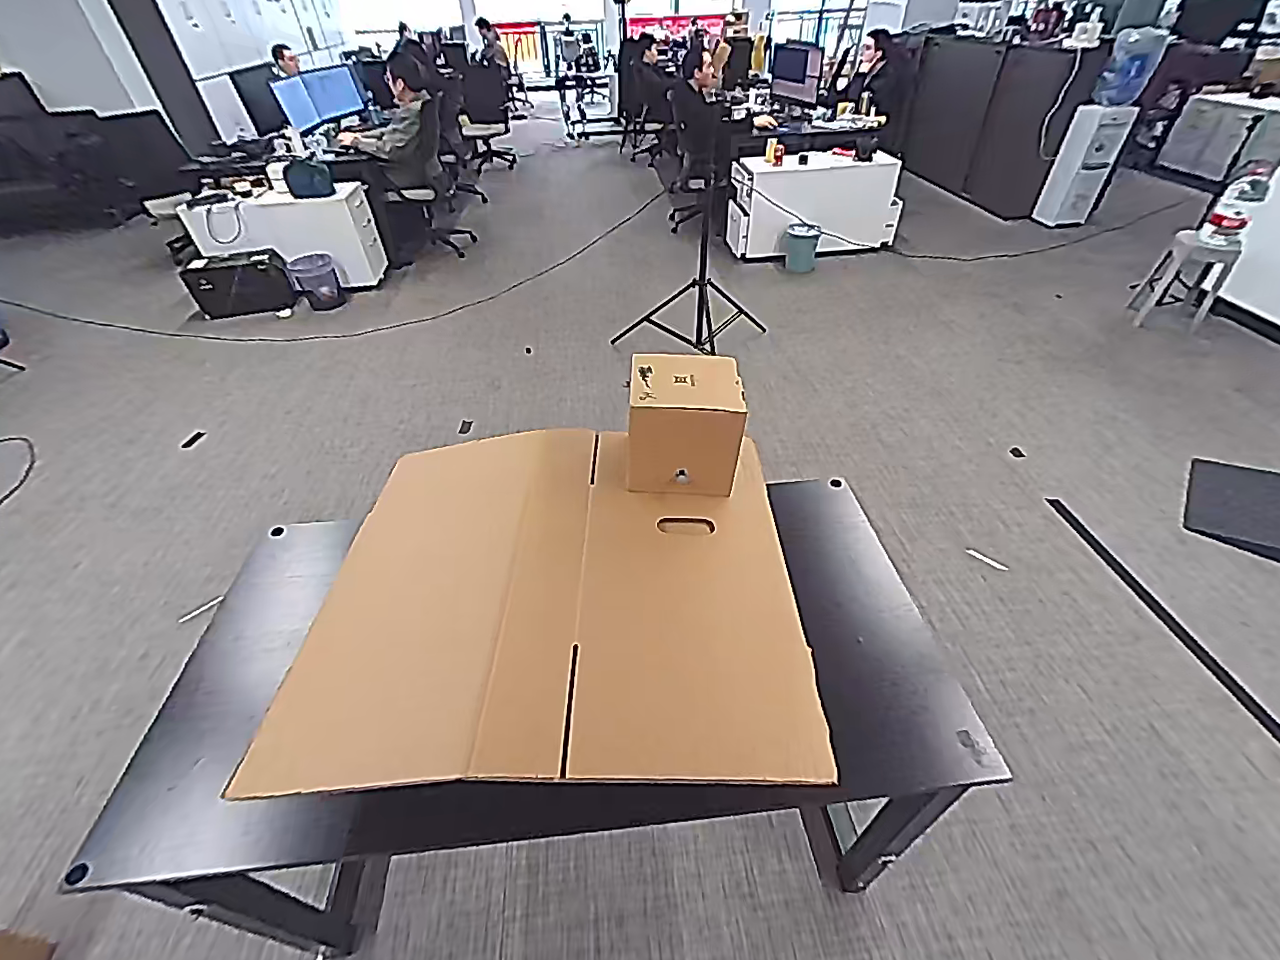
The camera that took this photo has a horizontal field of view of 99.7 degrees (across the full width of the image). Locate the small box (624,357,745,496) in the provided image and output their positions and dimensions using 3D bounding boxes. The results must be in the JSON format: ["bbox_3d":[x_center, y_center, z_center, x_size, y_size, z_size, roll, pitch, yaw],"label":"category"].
[{"bbox_3d":[0.067,-0.088,0.907,0.179,0.176,0.168,3,40,-1],"label":"small box"}]

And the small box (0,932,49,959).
[{"bbox_3d":[-1.350,1.033,1.066,0.168,0.176,0.179,-8,43,-6],"label":"small box"}]
